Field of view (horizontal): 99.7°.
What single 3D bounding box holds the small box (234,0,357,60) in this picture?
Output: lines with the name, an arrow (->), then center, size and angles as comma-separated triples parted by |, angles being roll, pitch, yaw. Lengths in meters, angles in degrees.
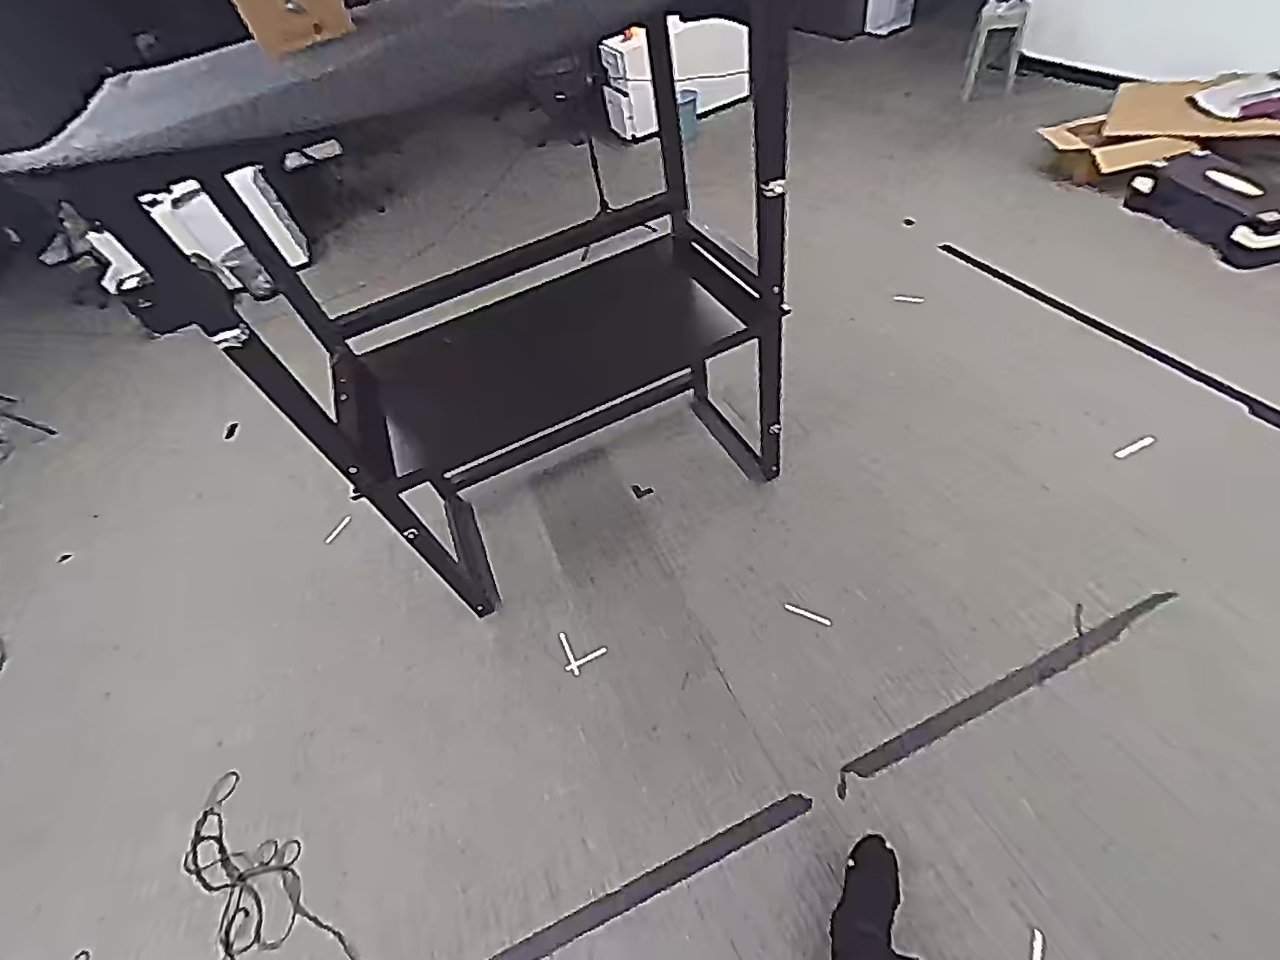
small box -> -0.634, -0.877, 0.959 | 0.168, 0.176, 0.179 | -27, 51, -9
